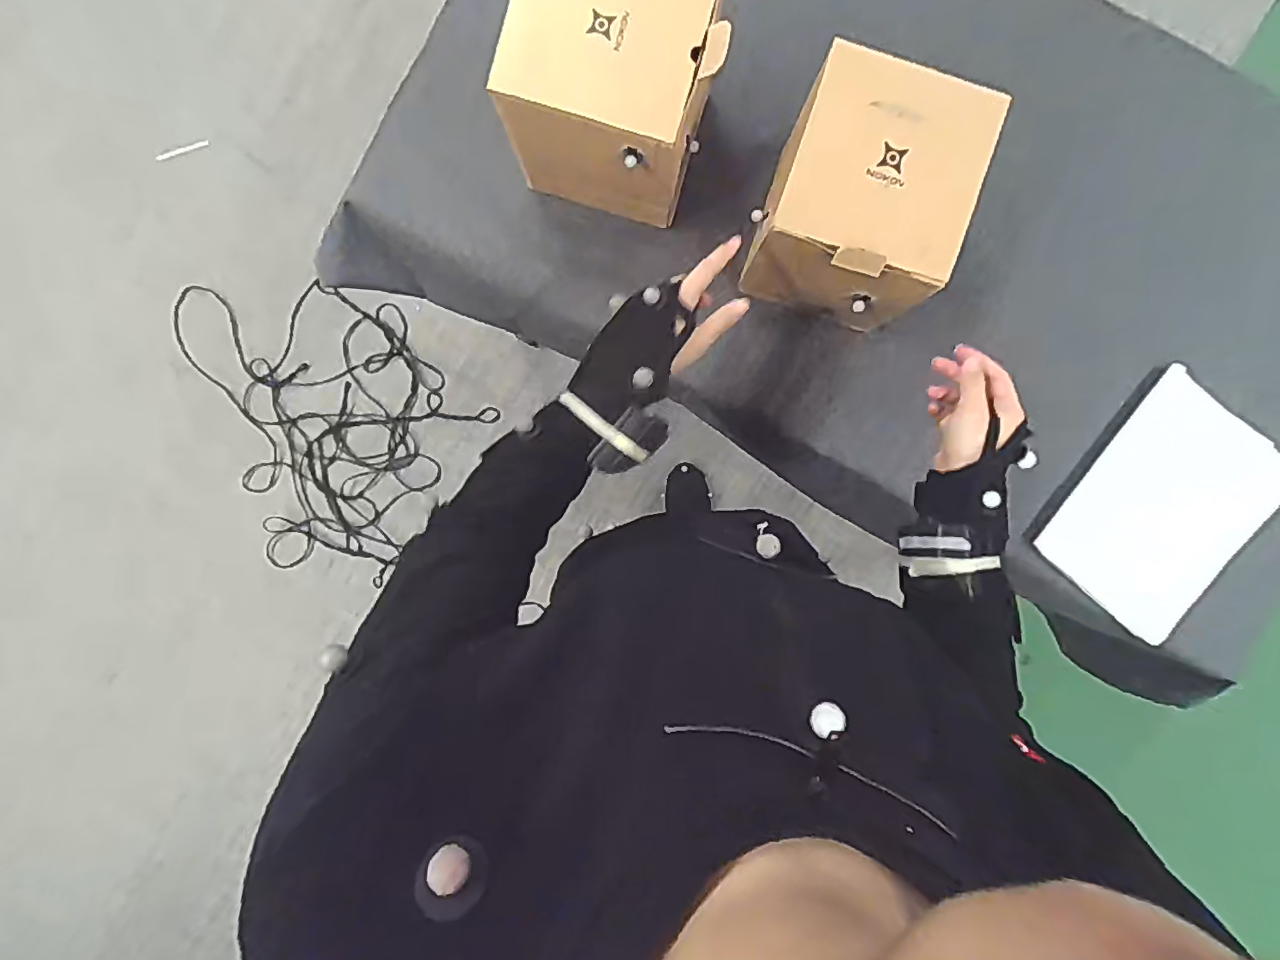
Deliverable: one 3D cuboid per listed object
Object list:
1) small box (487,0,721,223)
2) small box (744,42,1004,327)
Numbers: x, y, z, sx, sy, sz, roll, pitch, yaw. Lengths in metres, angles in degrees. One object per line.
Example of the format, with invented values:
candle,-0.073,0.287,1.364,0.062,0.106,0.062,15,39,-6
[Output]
small box,-0.030,-0.392,0.550,0.179,0.176,0.168,16,90,-1
small box,0.216,-0.276,0.552,0.168,0.176,0.179,18,90,-1
